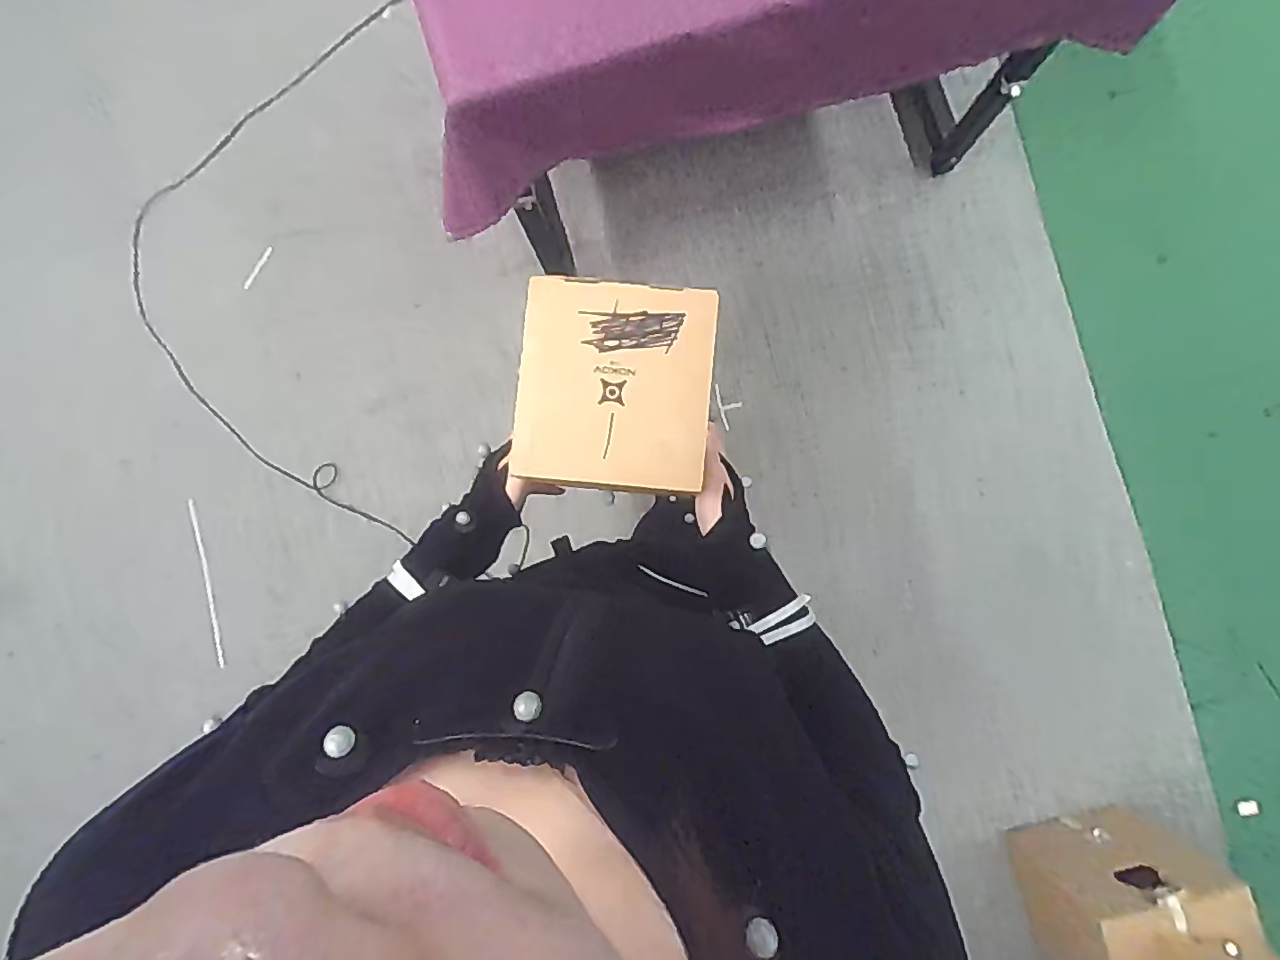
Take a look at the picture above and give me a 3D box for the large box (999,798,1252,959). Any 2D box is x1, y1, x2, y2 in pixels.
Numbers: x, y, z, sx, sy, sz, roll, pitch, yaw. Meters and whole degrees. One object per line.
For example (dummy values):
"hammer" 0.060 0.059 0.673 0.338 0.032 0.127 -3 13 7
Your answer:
"large box" 1.130 1.053 1.260 0.320 0.320 0.408 -14 88 1

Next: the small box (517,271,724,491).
"small box" -0.015 -0.084 0.542 0.168 0.176 0.179 5 88 1
